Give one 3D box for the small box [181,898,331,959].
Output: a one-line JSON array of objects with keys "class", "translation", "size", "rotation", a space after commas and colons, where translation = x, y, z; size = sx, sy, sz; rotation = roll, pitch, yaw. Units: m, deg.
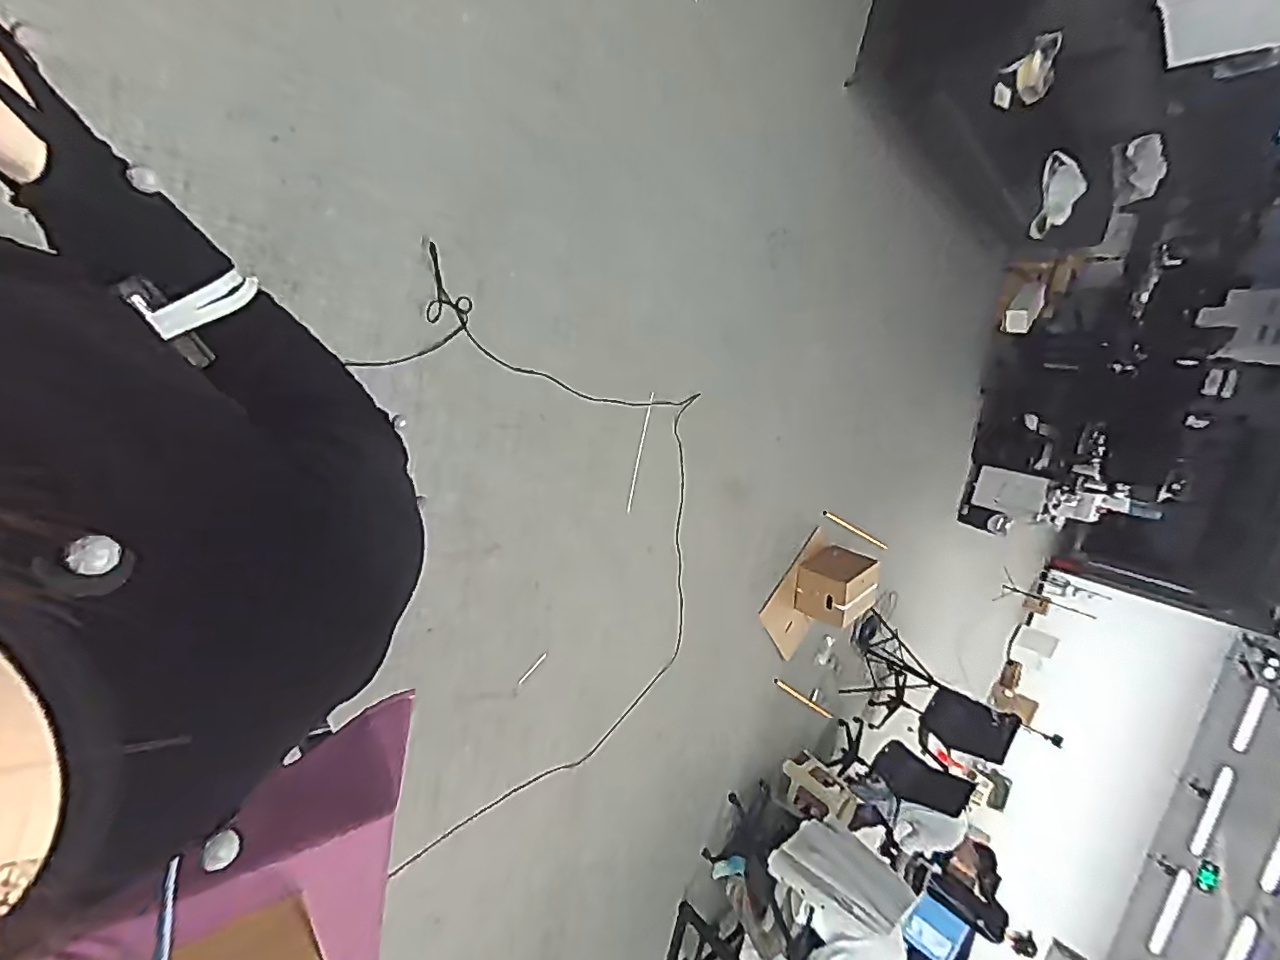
[{"class": "small box", "translation": [-0.533, 0.744, 0.749], "size": [0.179, 0.176, 0.168], "rotation": [-2, 106, -42]}]
